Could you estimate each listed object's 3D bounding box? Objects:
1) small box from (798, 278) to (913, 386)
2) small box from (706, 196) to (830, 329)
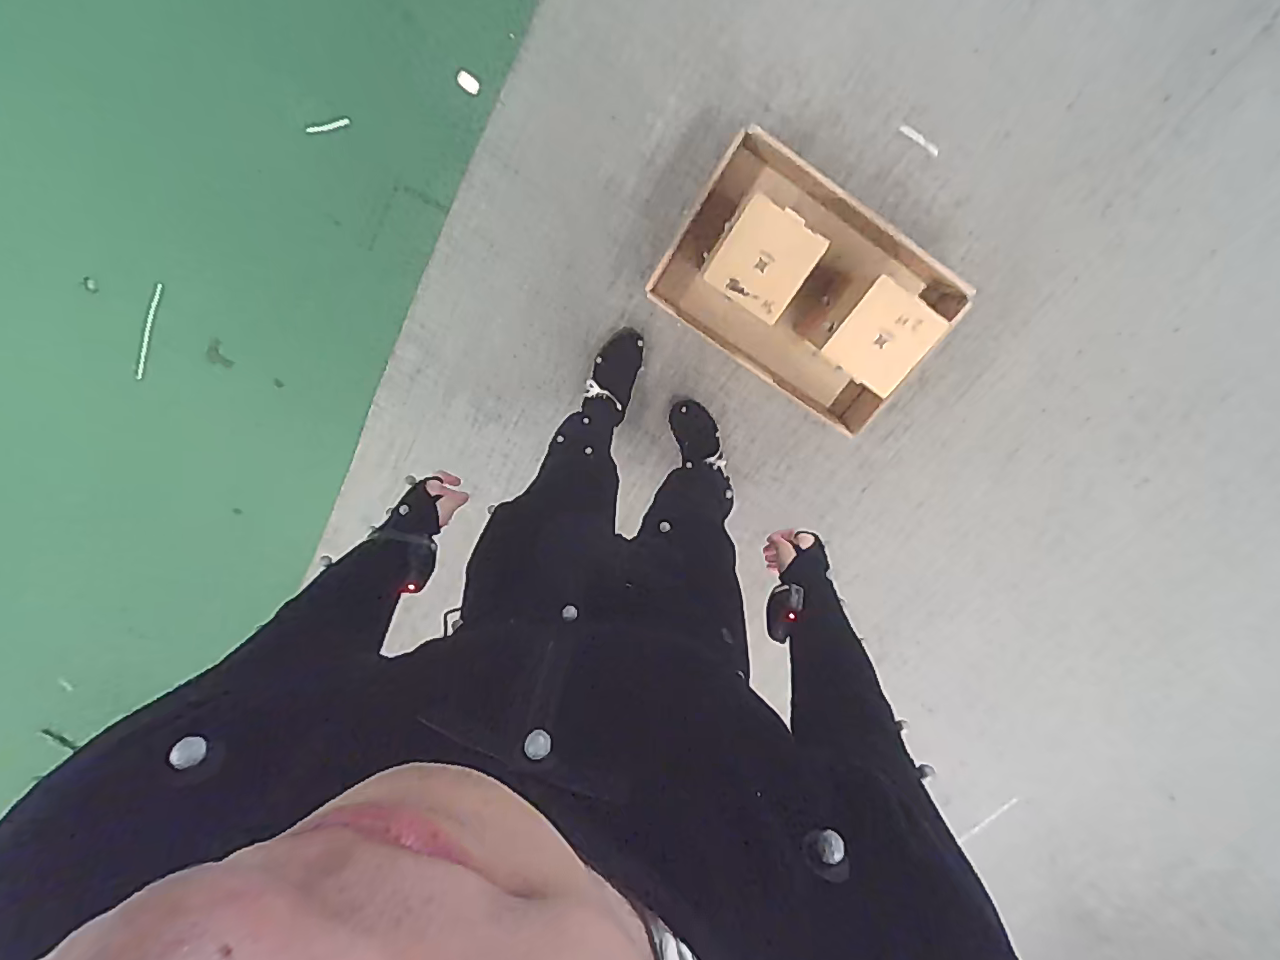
[{"bbox_3d":[0.487,-0.348,1.258,0.168,0.176,0.179,34,111,-7],"label":"small box"},{"bbox_3d":[0.240,-0.426,1.072,0.168,0.176,0.179,32,111,-7],"label":"small box"}]
